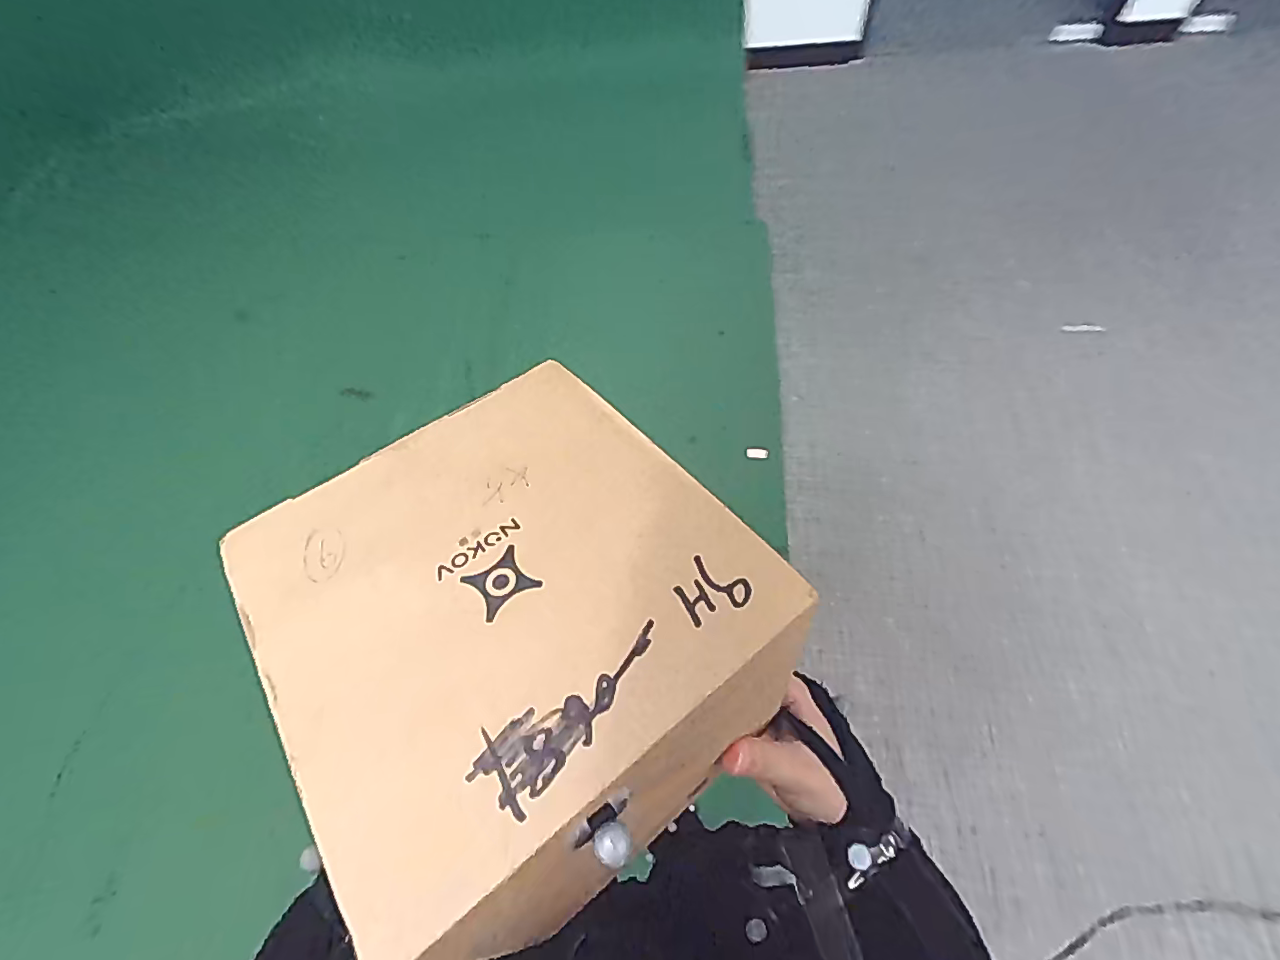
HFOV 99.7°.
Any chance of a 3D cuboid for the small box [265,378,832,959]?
[{"bbox_3d":[-0.038,0.087,0.274,0.168,0.176,0.179,-35,57,-17],"label":"small box"}]
